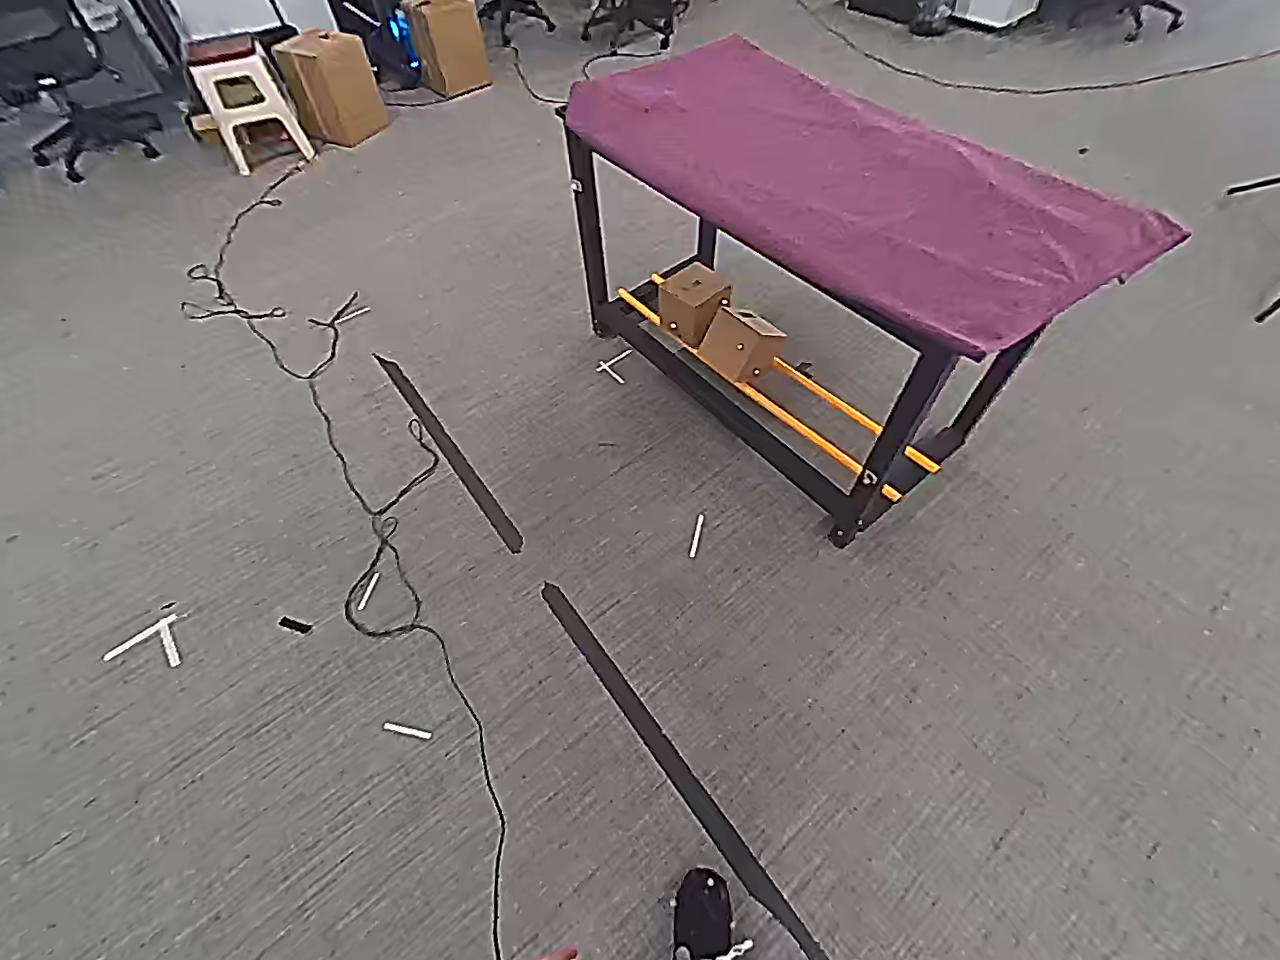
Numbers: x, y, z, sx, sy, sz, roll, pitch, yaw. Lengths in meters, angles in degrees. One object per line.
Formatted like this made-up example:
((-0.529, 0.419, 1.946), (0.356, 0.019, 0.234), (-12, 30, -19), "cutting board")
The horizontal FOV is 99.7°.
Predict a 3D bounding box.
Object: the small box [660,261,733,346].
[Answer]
((0.181, -0.578, 1.778), (0.179, 0.176, 0.168), (-37, 61, -19), "small box")
